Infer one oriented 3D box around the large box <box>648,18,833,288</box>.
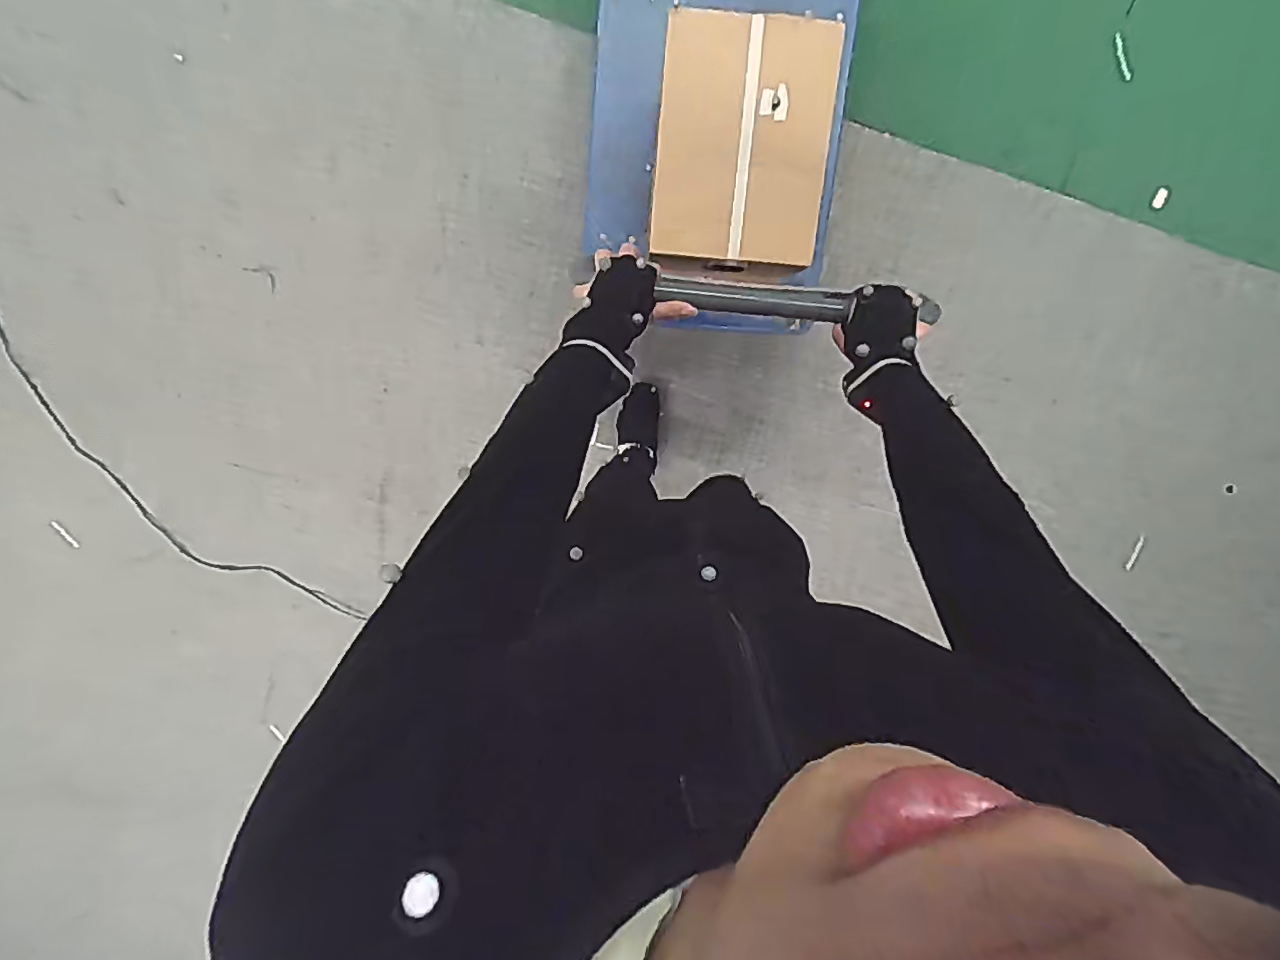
[{"bbox_3d":[0.180,-0.642,1.142,0.320,0.320,0.408,4,101,-2],"label":"large box"}]
